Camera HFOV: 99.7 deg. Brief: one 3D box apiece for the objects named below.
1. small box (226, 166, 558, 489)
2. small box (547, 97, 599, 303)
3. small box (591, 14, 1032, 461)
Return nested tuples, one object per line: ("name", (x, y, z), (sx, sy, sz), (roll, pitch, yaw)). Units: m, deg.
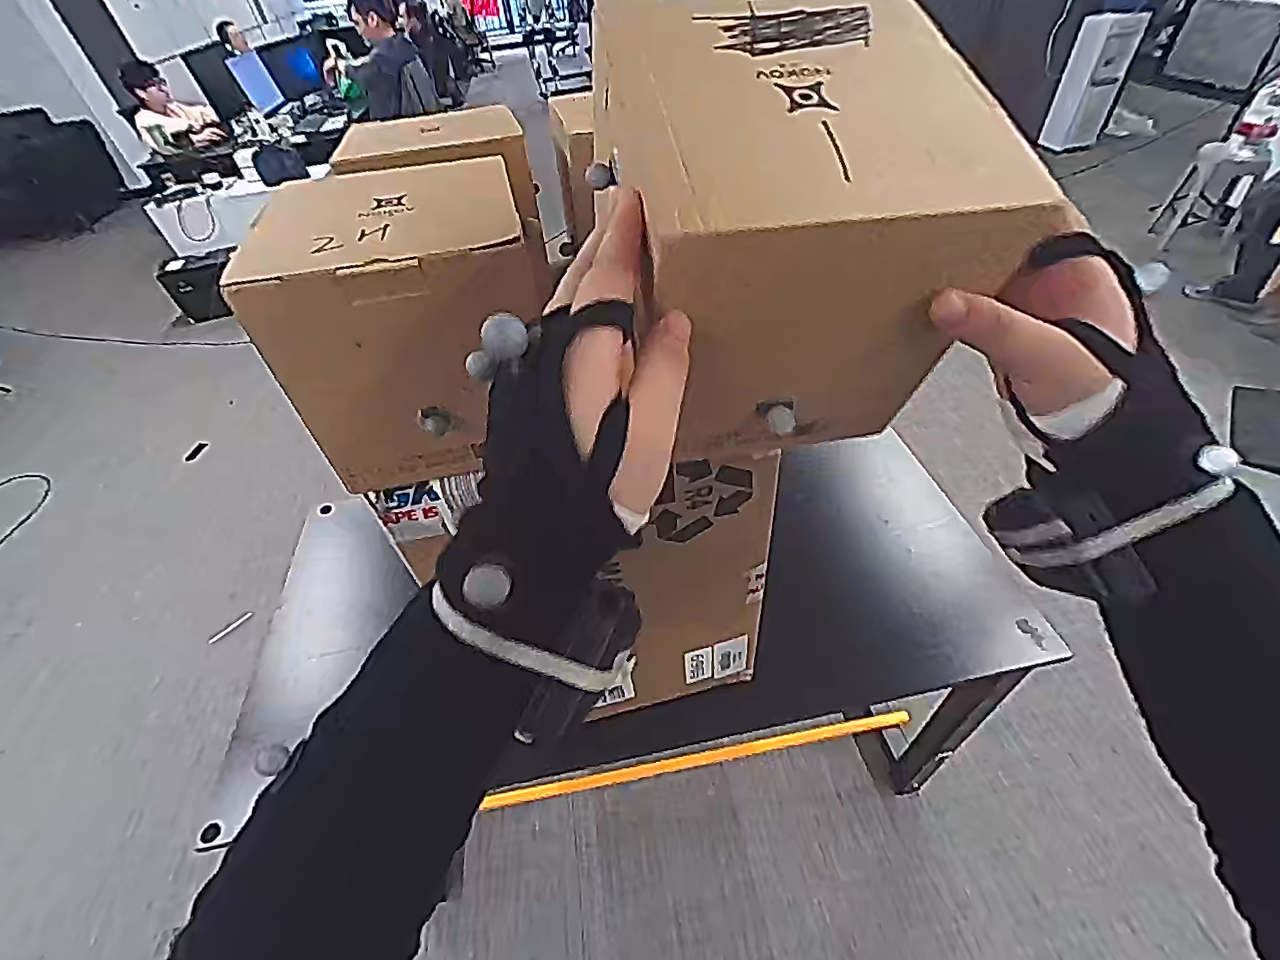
("small box", (-0.165, -0.120, 0.422), (0.168, 0.176, 0.179), (-12, 47, -7))
("small box", (-0.001, -0.306, 0.591), (0.168, 0.176, 0.179), (-10, 46, -7))
("small box", (0.062, -0.134, 0.319), (0.168, 0.176, 0.179), (-8, 62, -7))
